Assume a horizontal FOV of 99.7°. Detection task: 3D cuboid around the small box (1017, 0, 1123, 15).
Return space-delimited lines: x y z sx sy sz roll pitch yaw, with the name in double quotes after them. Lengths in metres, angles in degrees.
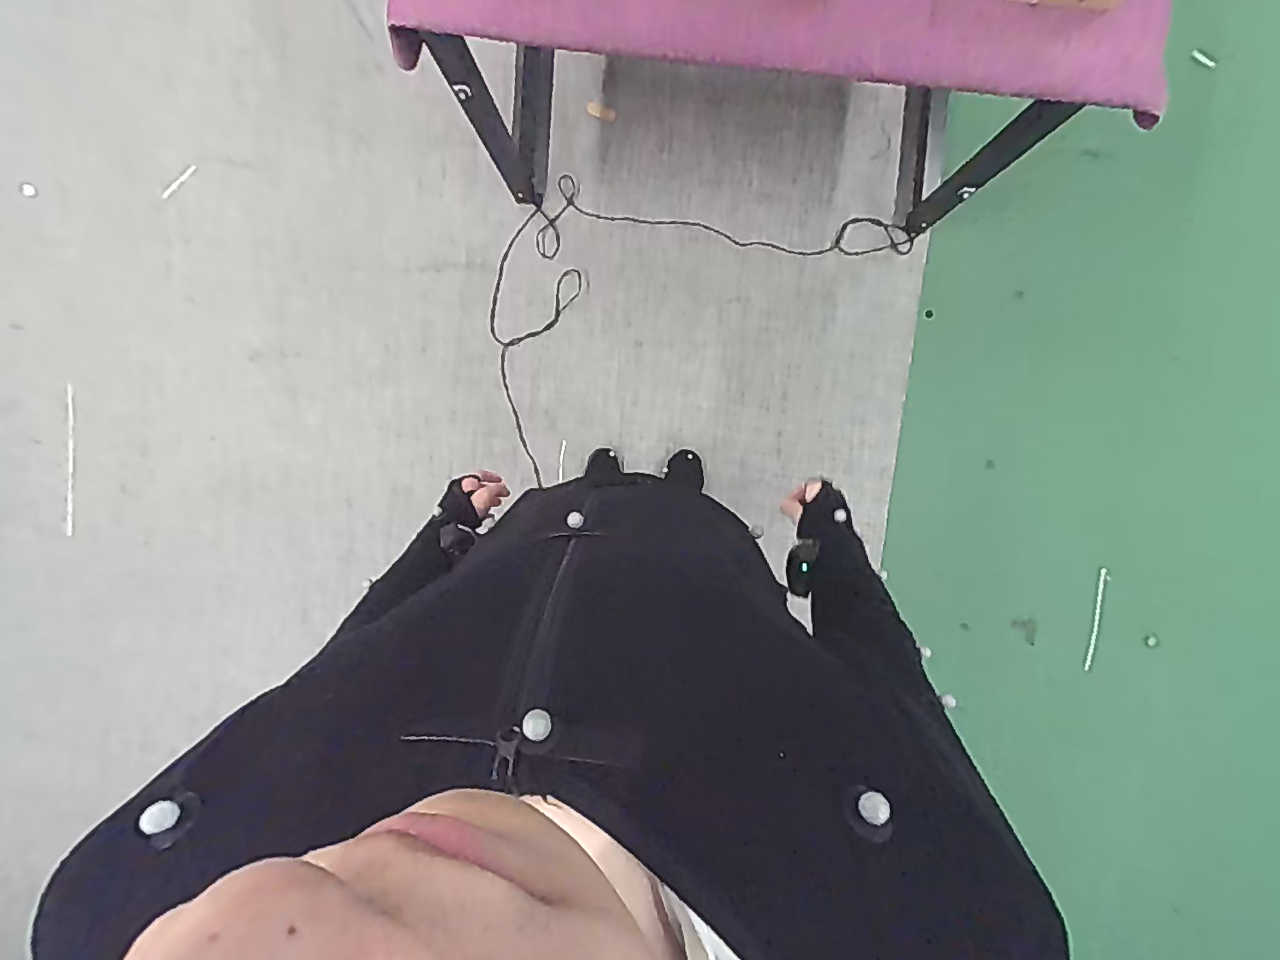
0.651 -0.803 0.743 0.168 0.176 0.179 8 93 2 "small box"
